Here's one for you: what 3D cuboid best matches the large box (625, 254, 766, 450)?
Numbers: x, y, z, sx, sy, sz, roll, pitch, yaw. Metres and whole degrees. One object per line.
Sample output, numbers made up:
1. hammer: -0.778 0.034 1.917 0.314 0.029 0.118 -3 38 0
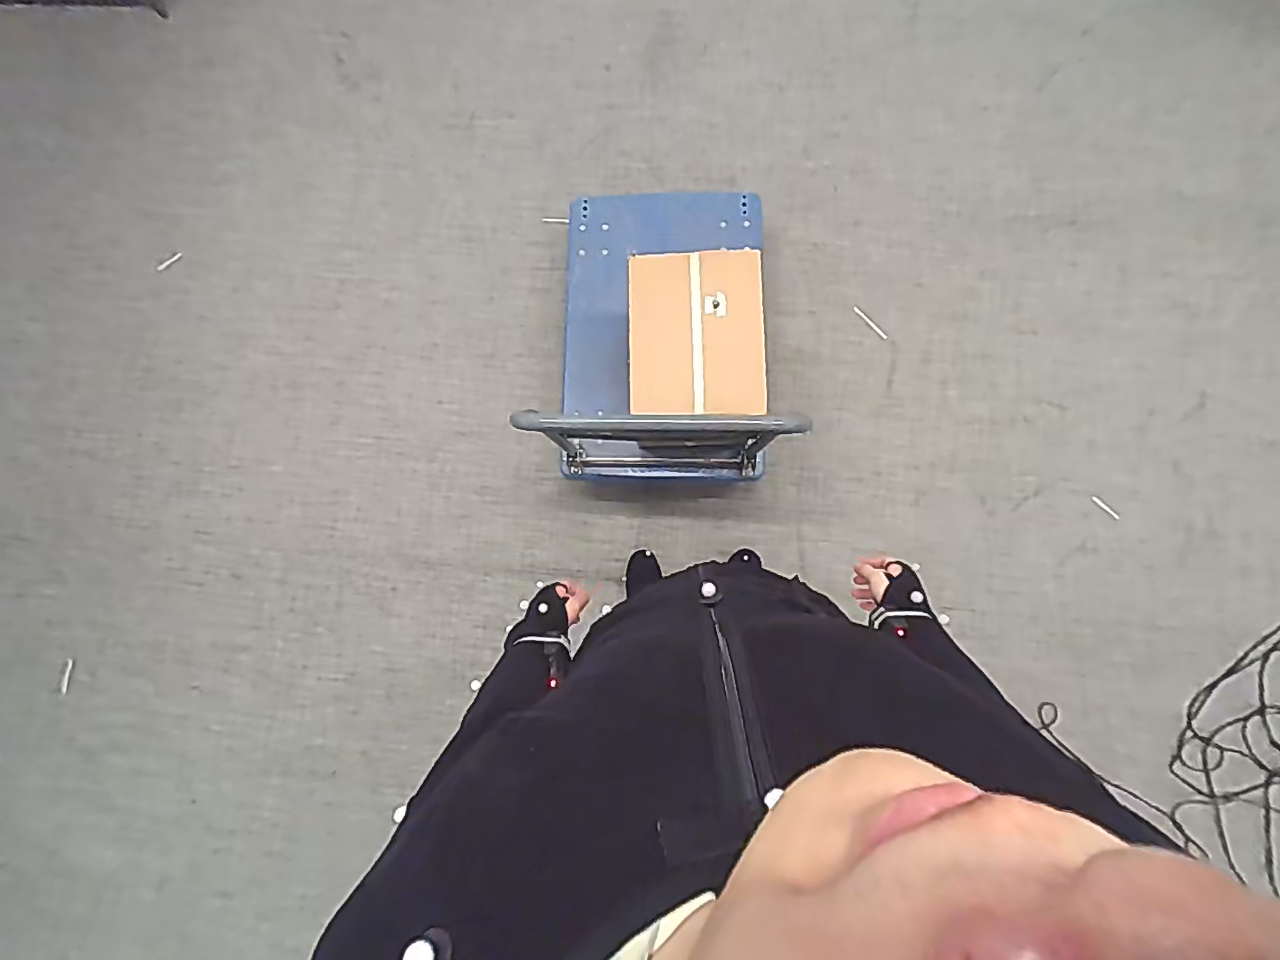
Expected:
1. large box: 0.133 -0.307 1.391 0.320 0.320 0.408 -1 81 3
